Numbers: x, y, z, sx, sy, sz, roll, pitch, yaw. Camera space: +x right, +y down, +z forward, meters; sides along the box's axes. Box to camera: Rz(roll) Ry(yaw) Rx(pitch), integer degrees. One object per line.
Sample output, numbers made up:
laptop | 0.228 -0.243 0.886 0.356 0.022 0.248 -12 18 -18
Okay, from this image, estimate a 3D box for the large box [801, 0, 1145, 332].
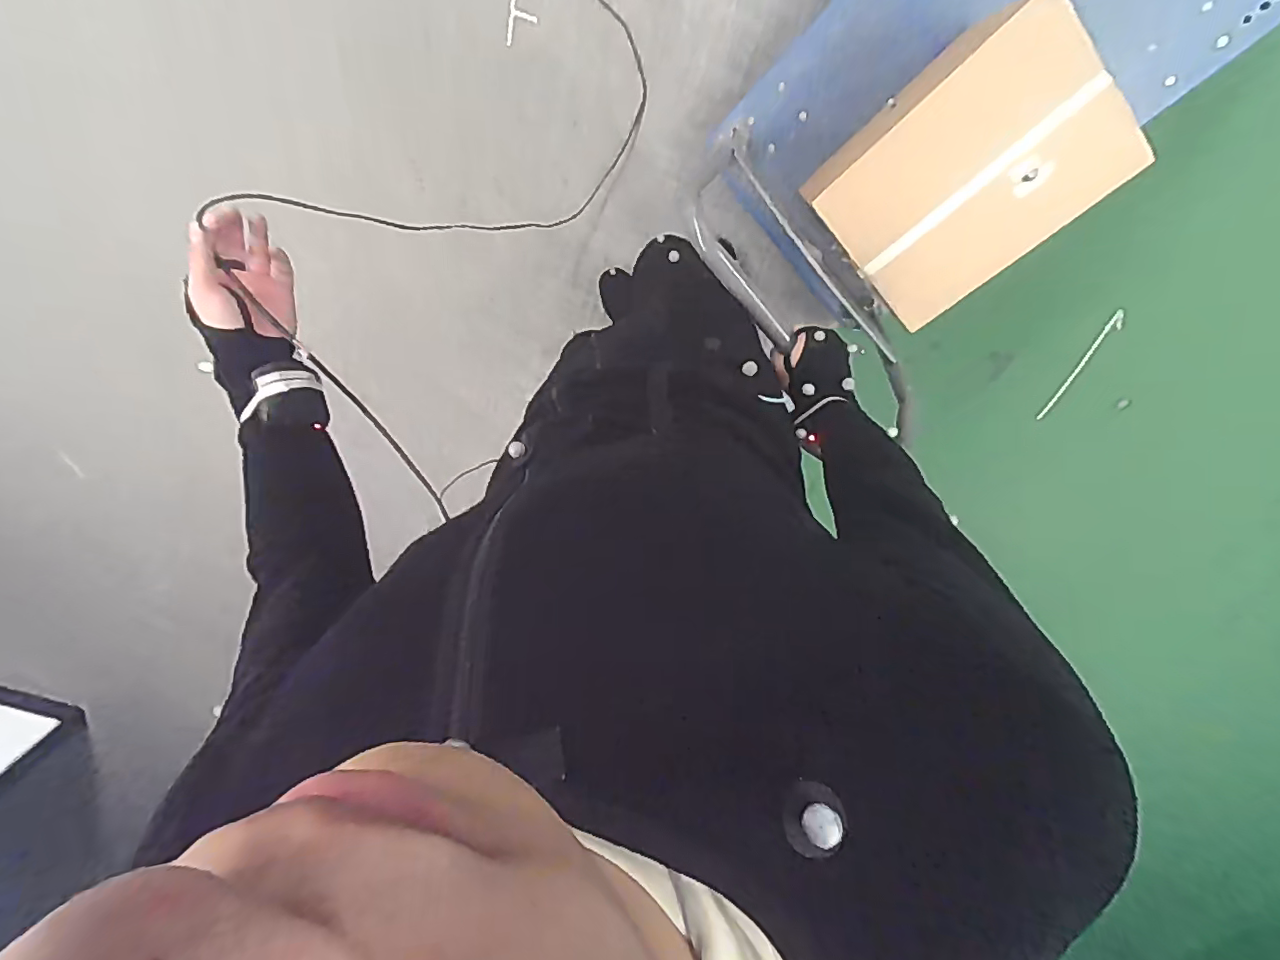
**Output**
large box | 0.566 -0.559 1.012 0.408 0.320 0.320 -37 109 27
